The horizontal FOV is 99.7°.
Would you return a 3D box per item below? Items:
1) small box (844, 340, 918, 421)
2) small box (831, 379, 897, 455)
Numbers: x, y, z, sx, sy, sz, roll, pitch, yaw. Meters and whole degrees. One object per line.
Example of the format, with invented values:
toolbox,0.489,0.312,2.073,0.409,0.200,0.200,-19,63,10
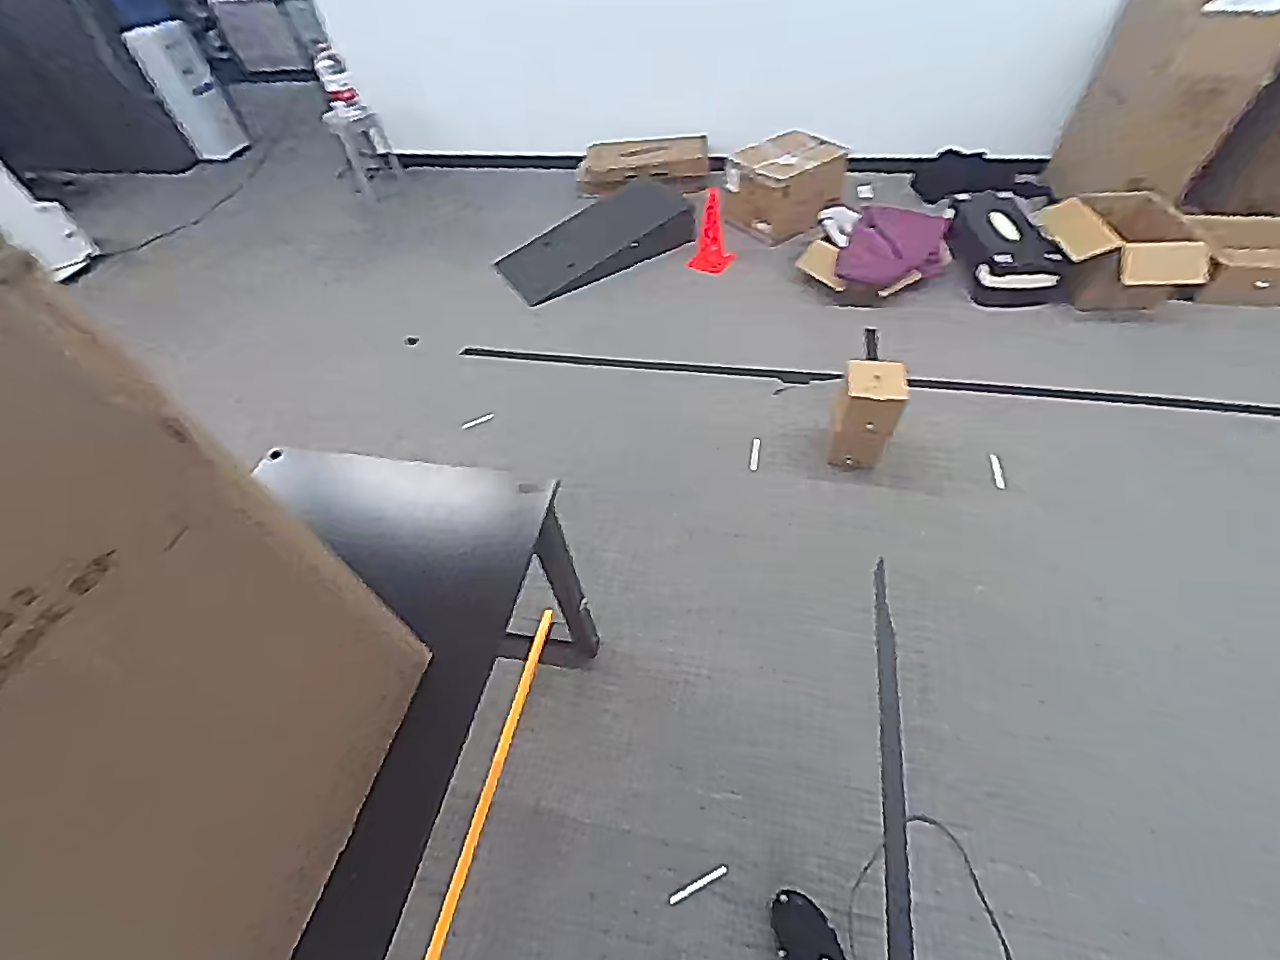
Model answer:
small box,0.729,-0.304,1.655,0.168,0.176,0.179,6,52,11
small box,0.735,-0.208,1.790,0.168,0.176,0.179,5,53,10
